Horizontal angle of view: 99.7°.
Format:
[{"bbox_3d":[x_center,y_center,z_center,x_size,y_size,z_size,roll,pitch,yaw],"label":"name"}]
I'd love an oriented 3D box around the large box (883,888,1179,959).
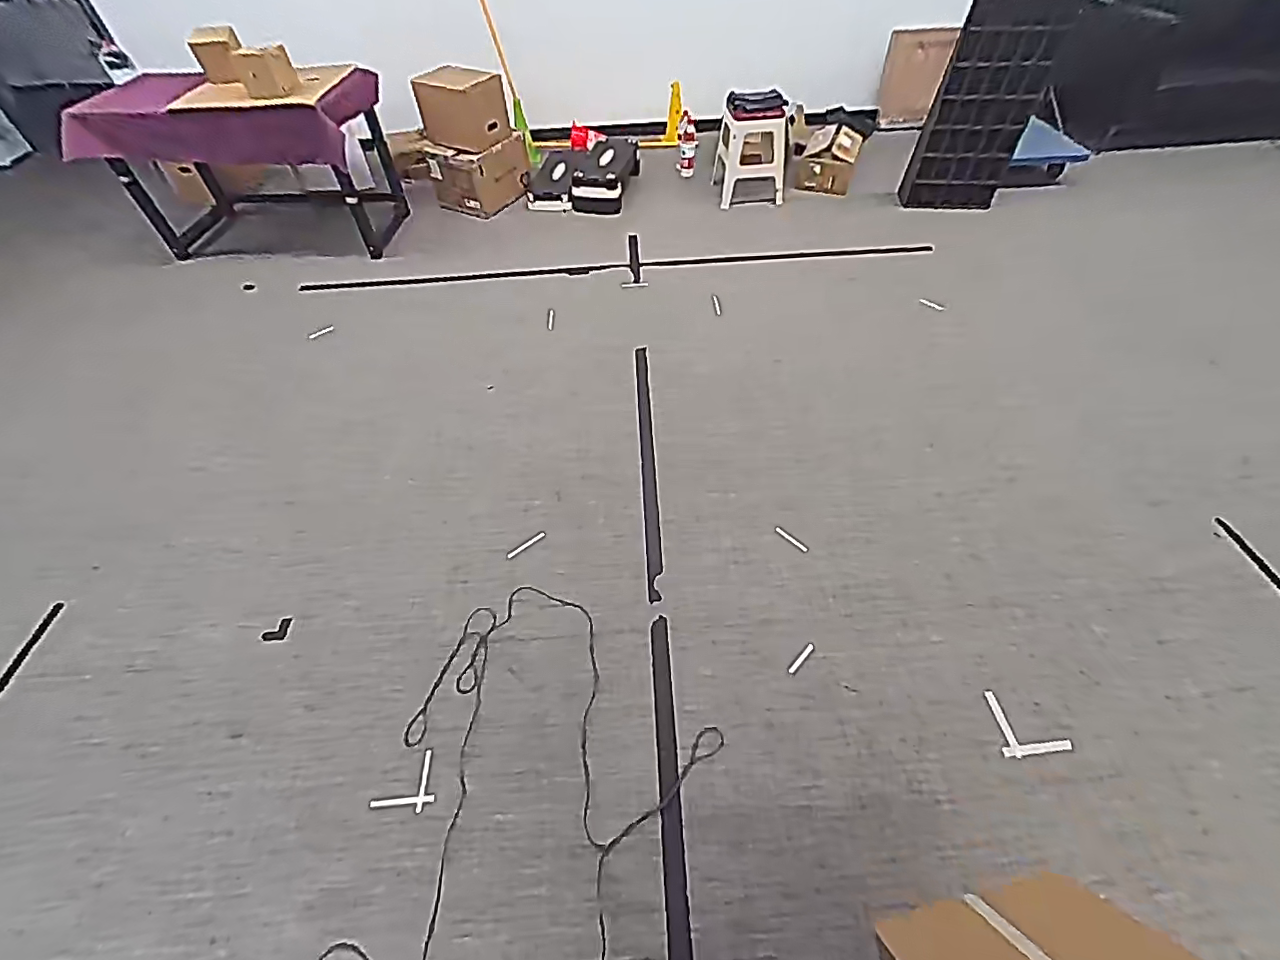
[{"bbox_3d":[0.544,0.755,0.595,0.320,0.408,0.320,-12,79,-5],"label":"large box"}]
